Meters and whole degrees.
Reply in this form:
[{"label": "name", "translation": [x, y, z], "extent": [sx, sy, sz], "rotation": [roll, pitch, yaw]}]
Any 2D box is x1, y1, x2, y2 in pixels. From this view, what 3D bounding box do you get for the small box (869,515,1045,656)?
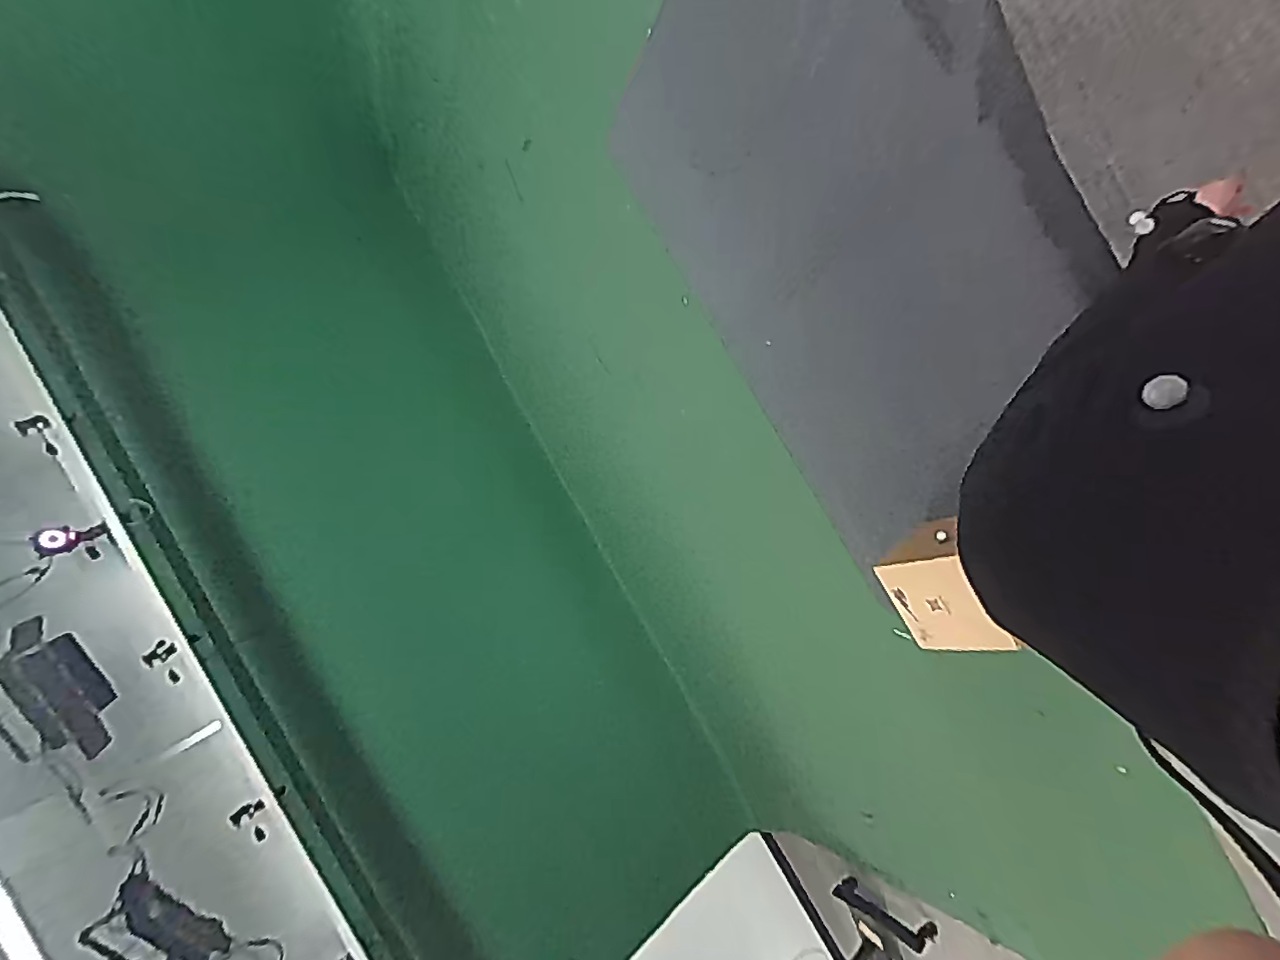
[{"label": "small box", "translation": [0.535, 0.176, 0.906], "extent": [0.168, 0.176, 0.179], "rotation": [61, 151, 3]}]
